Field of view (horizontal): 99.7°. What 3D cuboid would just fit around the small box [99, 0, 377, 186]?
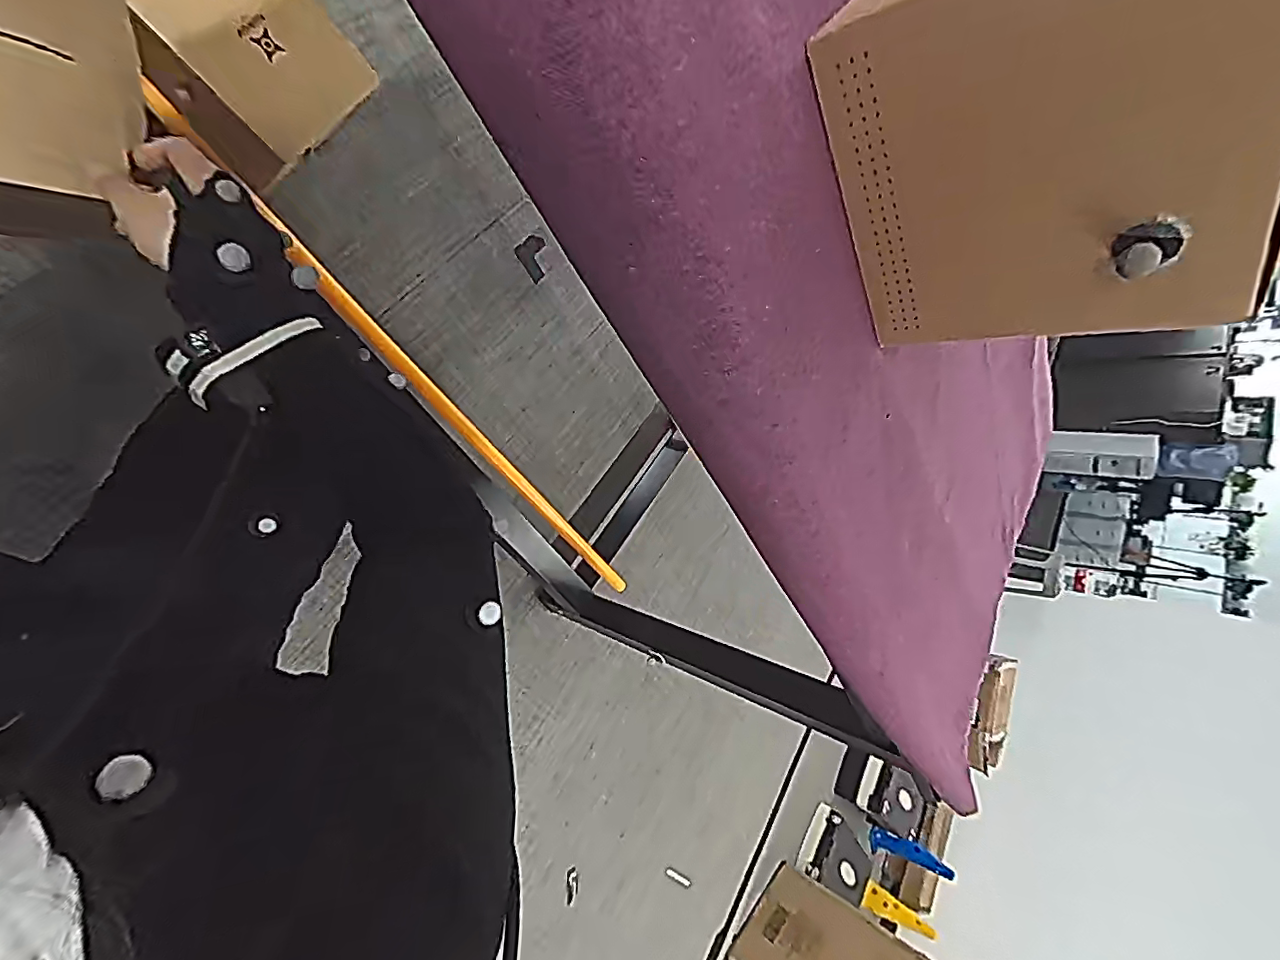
[{"bbox_3d":[-0.446,-0.463,0.609,0.179,0.176,0.168,47,63,-39],"label":"small box"}]

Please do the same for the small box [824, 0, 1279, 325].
[{"bbox_3d":[0.223,-0.199,0.289,0.168,0.176,0.179,-55,131,-27],"label":"small box"}]
